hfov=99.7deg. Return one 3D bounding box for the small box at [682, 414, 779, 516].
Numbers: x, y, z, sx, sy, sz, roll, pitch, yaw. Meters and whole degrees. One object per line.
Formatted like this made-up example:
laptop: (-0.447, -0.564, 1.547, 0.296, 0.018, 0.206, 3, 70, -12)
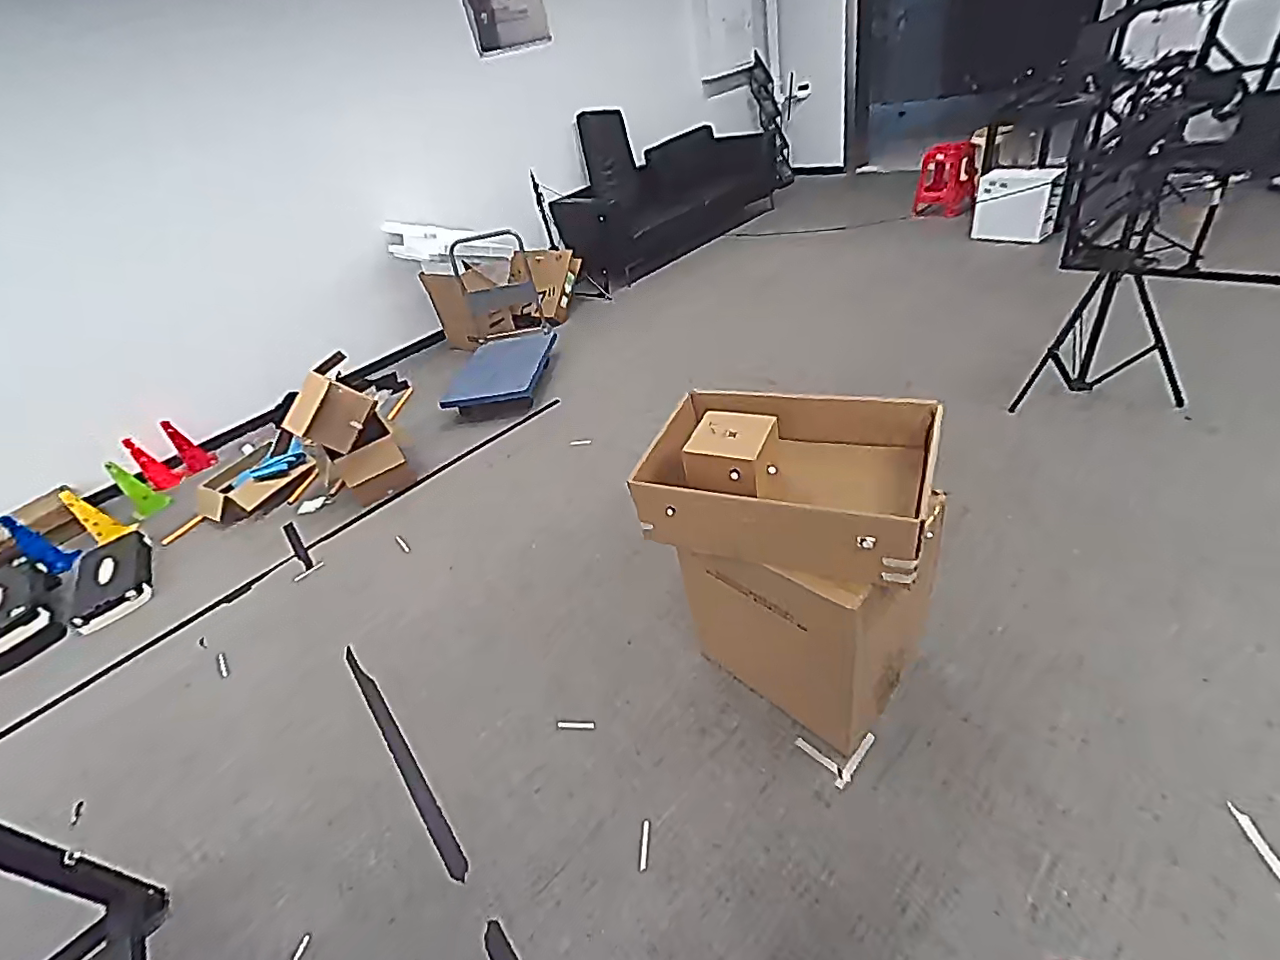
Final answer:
small box: (0.223, -0.035, 1.284, 0.179, 0.176, 0.168, 9, 44, 29)
